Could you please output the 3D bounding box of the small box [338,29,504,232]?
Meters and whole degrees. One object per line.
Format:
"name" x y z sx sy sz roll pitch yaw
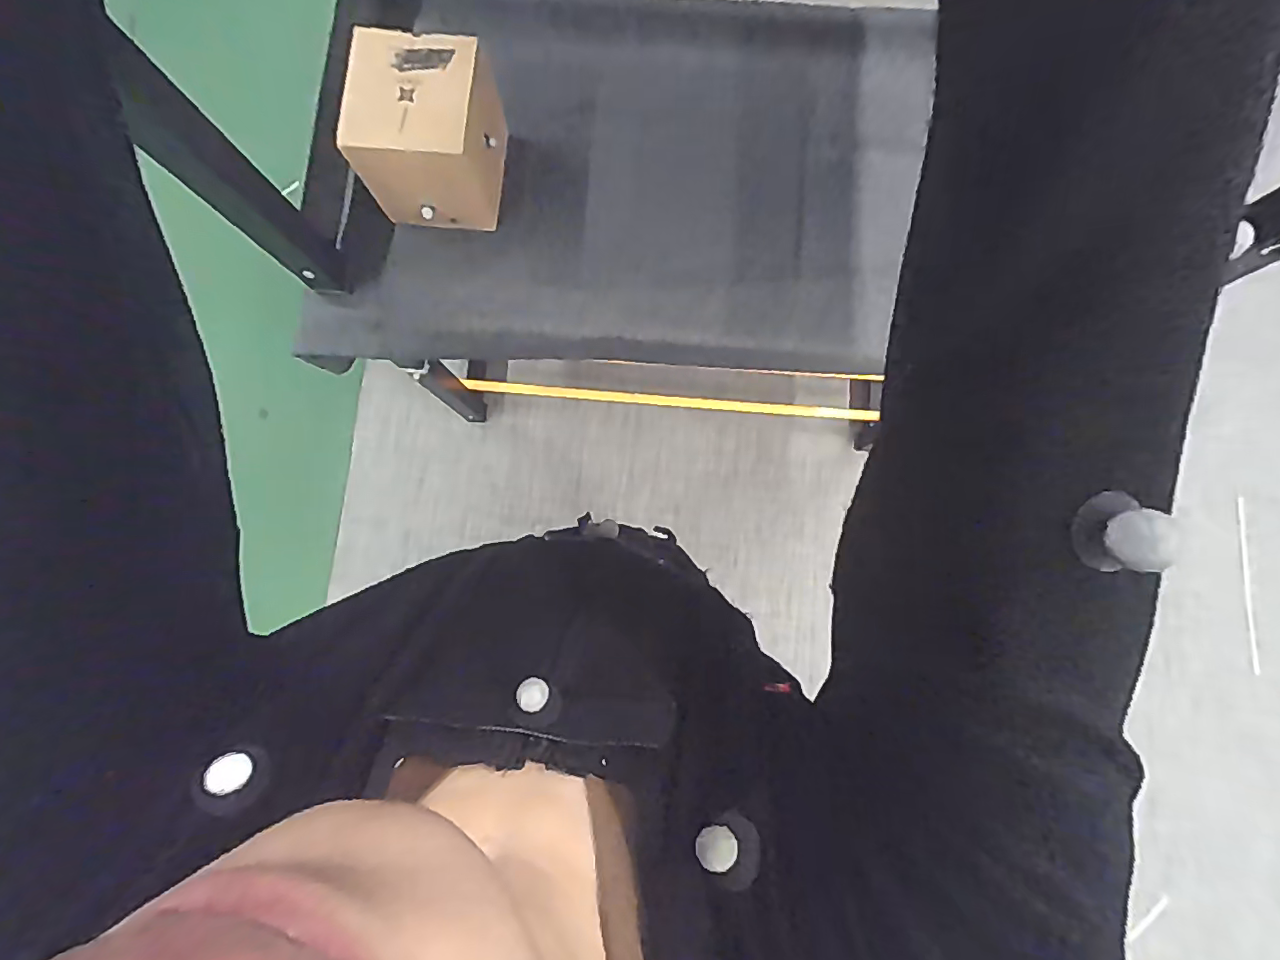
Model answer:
"small box" -0.302 -0.495 0.785 0.168 0.176 0.179 4 82 0
